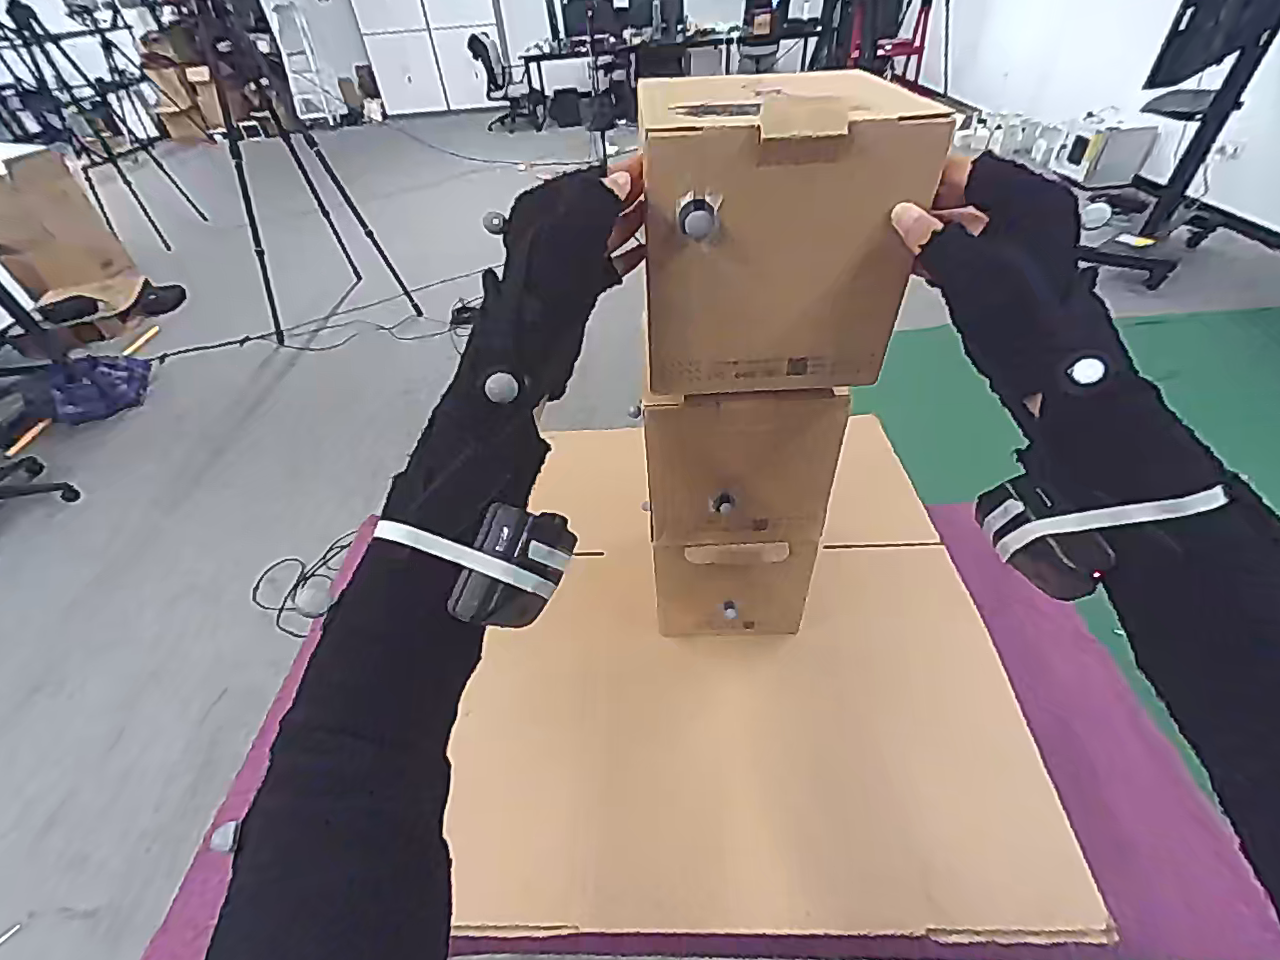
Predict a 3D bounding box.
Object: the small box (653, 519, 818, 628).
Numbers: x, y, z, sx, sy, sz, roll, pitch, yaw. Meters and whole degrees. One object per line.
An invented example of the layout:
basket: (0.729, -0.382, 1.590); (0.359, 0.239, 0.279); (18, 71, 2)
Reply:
small box: (0.101, 0.056, 0.649); (0.168, 0.176, 0.179); (-2, 43, 4)

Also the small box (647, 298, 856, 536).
small box: (0.091, -0.063, 0.539); (0.168, 0.176, 0.179); (-3, 43, 2)
